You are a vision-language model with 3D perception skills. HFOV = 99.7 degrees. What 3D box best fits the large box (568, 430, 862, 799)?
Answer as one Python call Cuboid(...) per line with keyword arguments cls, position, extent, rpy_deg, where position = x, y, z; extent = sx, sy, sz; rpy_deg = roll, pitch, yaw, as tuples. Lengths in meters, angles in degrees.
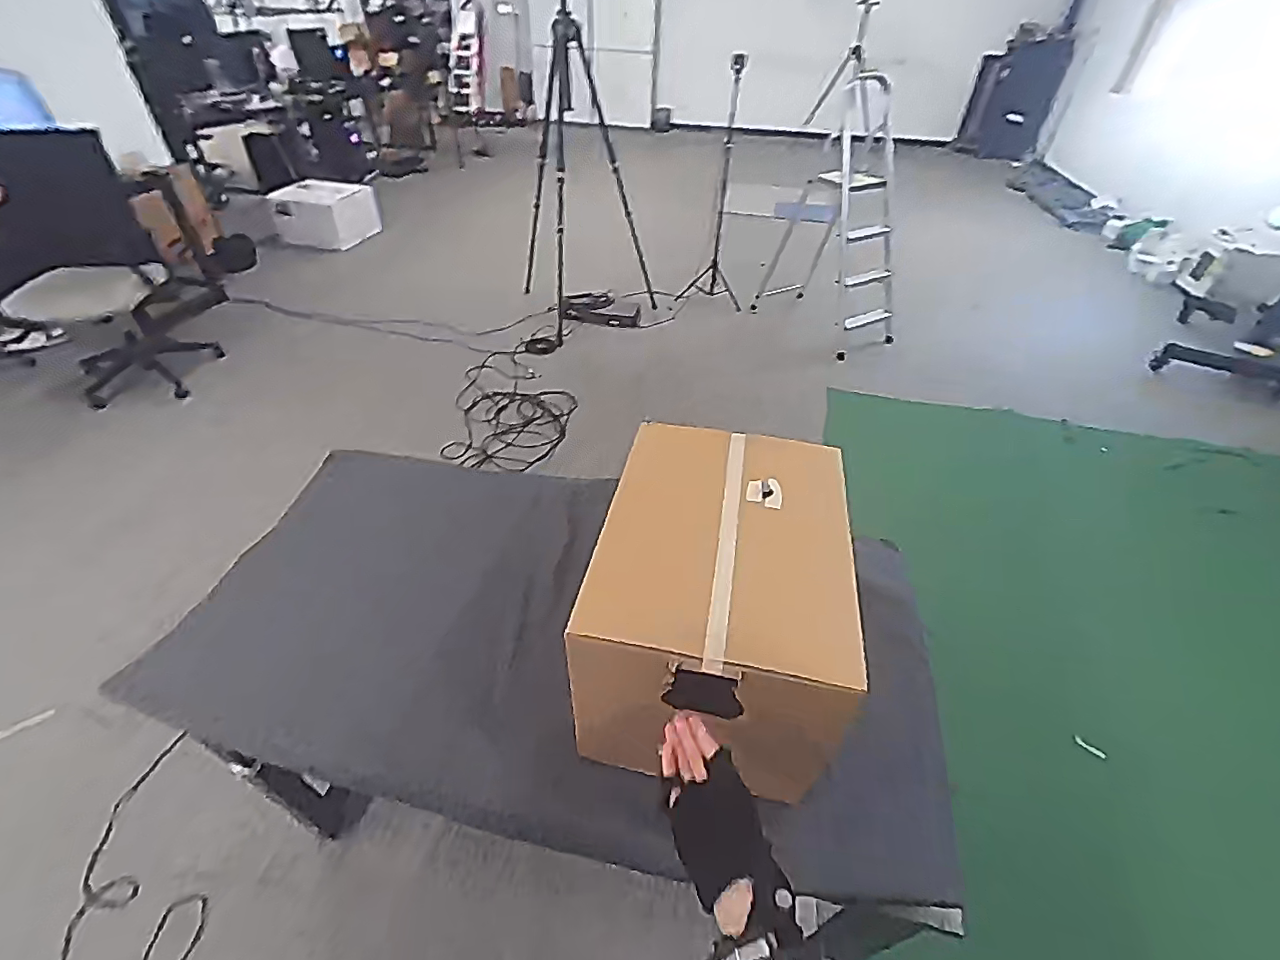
Cuboid(cls="large box", position=(0.105, 0.177, 0.796), extent=(0.320, 0.320, 0.408), rpy_deg=(8, 40, 8))
